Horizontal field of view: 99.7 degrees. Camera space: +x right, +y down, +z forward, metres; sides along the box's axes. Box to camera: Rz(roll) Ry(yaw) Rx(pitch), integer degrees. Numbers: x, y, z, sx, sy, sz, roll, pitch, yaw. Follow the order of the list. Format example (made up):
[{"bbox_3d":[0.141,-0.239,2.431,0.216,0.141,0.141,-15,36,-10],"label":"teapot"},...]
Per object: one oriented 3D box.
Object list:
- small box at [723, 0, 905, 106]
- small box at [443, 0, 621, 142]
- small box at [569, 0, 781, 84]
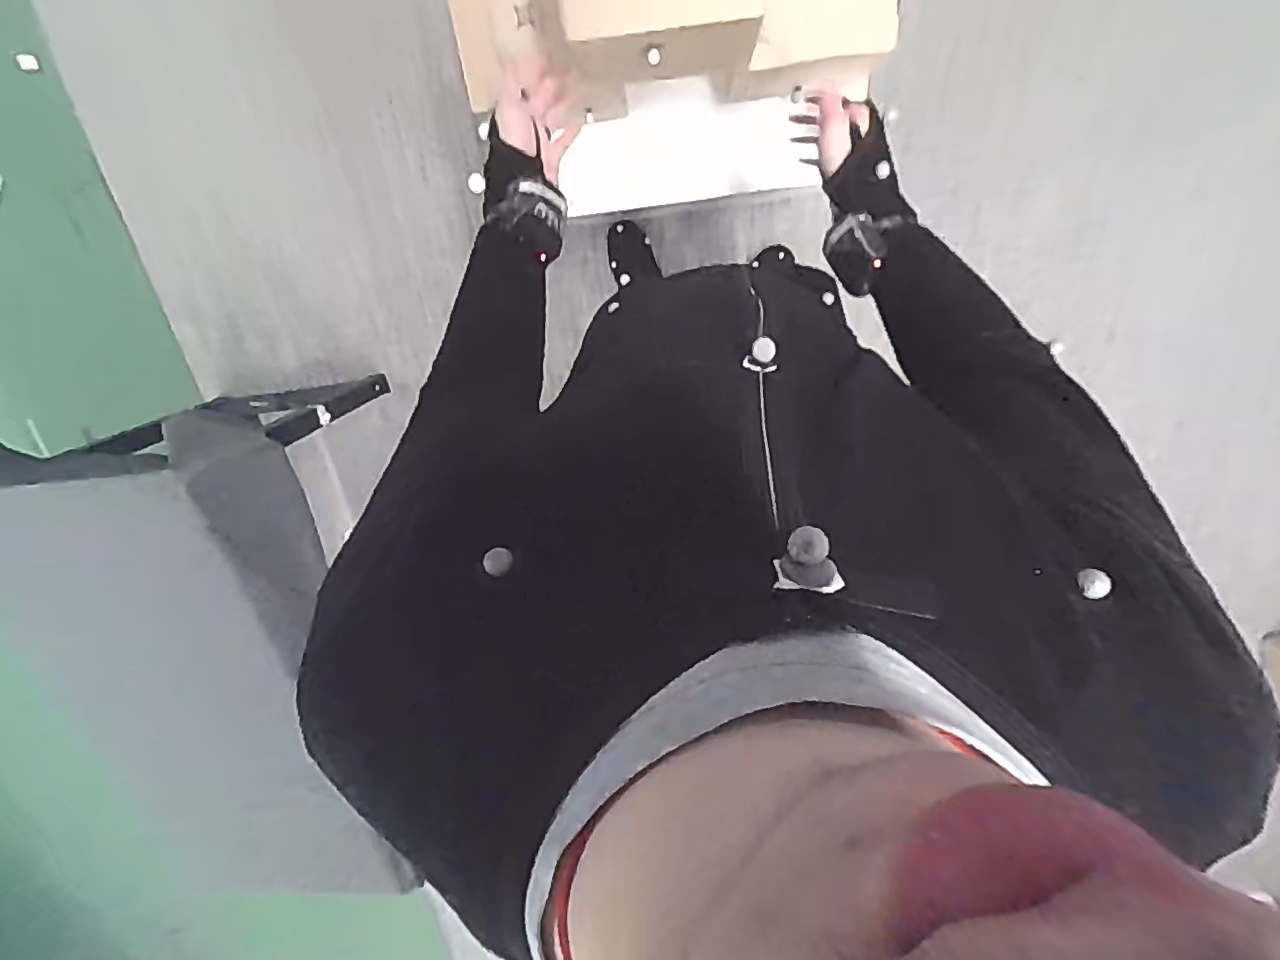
[{"bbox_3d":[0.191,-0.558,0.630,0.179,0.176,0.168,-4,113,6],"label":"small box"},{"bbox_3d":[-0.120,-0.530,0.656,0.179,0.176,0.168,-7,112,5],"label":"small box"},{"bbox_3d":[0.028,-0.485,0.490,0.179,0.176,0.168,-4,113,4],"label":"small box"}]
